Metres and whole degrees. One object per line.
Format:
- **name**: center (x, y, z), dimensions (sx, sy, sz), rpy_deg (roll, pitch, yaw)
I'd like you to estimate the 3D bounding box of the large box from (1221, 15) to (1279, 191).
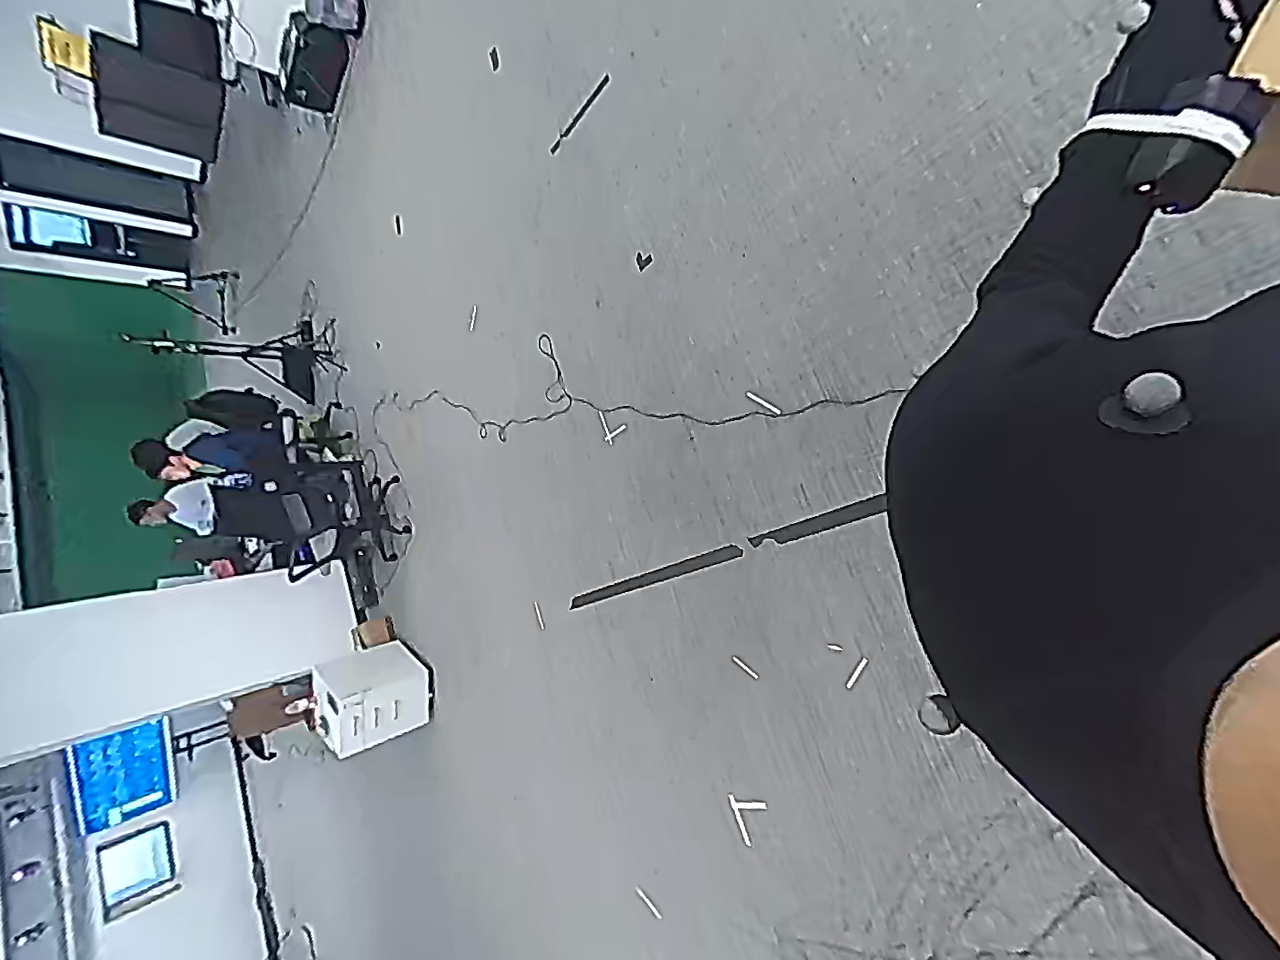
- **large box**: center (0.654, -0.328, 0.273), dimensions (0.408, 0.320, 0.320), rpy_deg (33, 122, 35)
